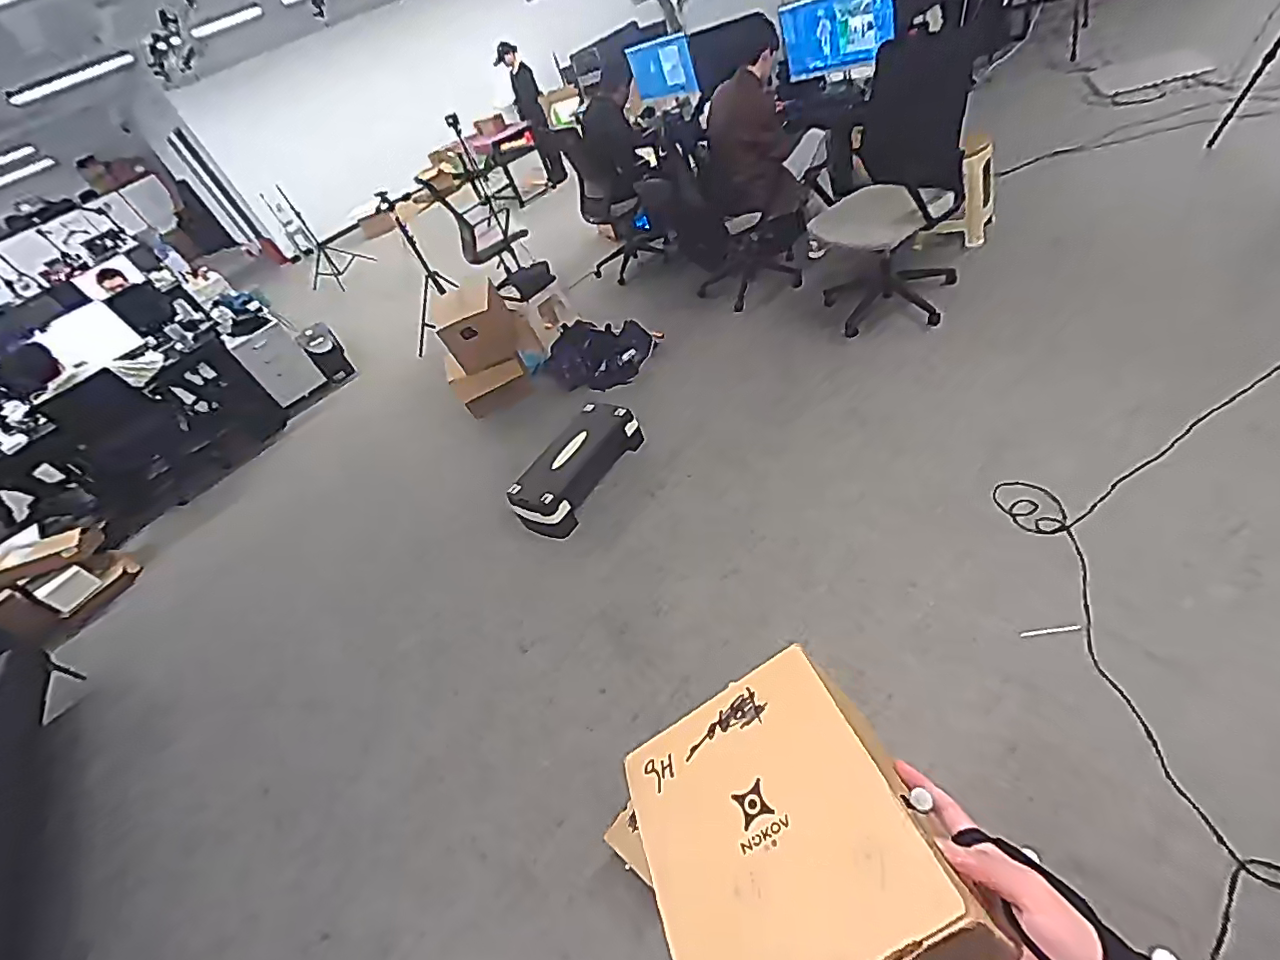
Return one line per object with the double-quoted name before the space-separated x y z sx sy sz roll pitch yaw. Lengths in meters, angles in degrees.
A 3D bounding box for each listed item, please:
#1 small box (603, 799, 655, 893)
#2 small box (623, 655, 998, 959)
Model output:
"small box" 0.045 0.900 1.339 0.179 0.176 0.168 21 58 39
"small box" 0.118 0.269 0.391 0.168 0.176 0.179 -37 37 7
